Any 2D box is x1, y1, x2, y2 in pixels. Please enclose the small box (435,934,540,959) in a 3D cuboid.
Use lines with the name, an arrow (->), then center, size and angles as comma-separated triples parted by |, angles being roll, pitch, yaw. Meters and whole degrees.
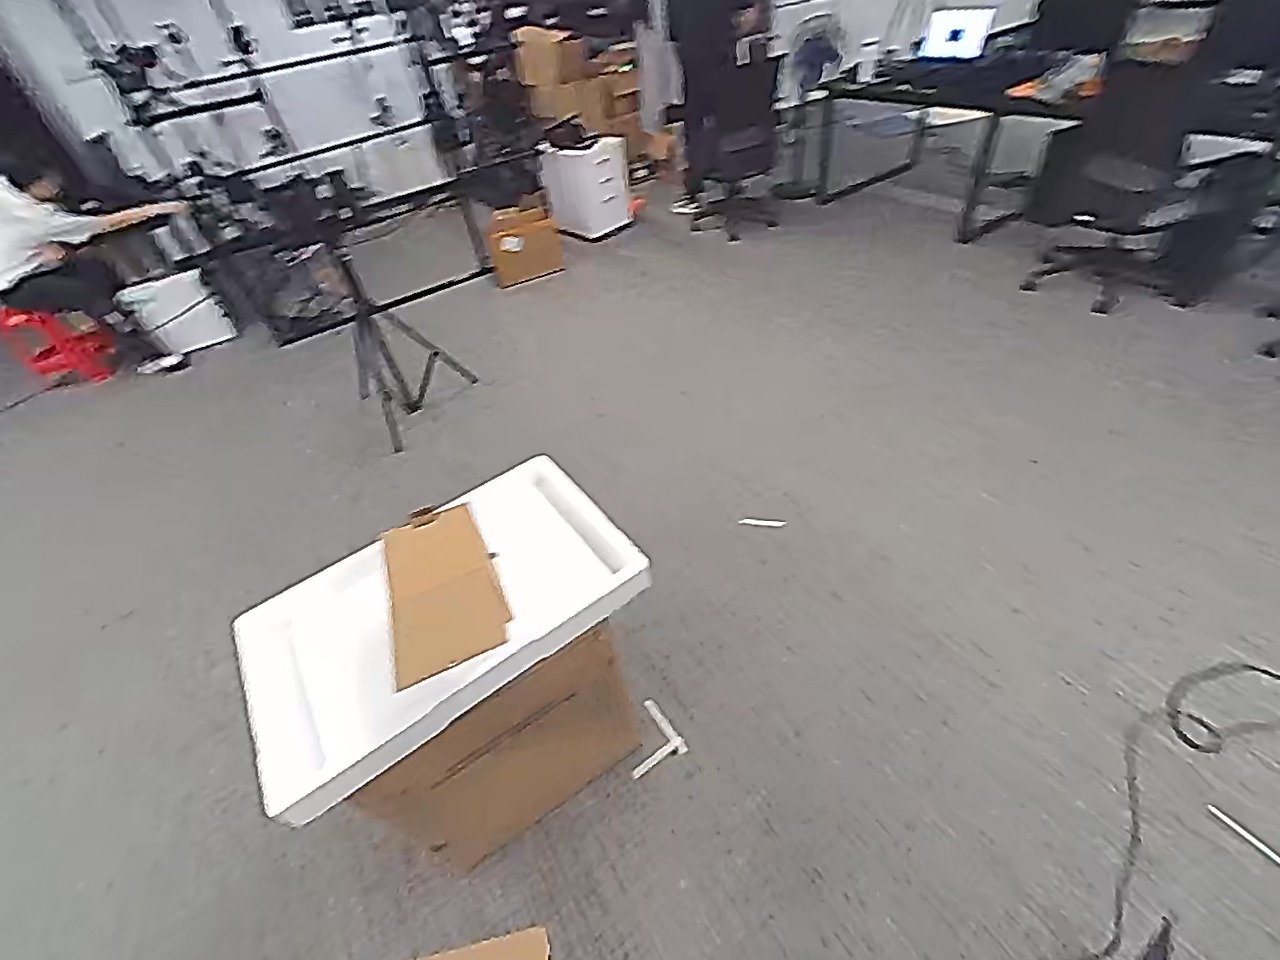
small box -> -0.200, 0.626, 0.560 | 0.179, 0.176, 0.168 | 14, 27, -33
